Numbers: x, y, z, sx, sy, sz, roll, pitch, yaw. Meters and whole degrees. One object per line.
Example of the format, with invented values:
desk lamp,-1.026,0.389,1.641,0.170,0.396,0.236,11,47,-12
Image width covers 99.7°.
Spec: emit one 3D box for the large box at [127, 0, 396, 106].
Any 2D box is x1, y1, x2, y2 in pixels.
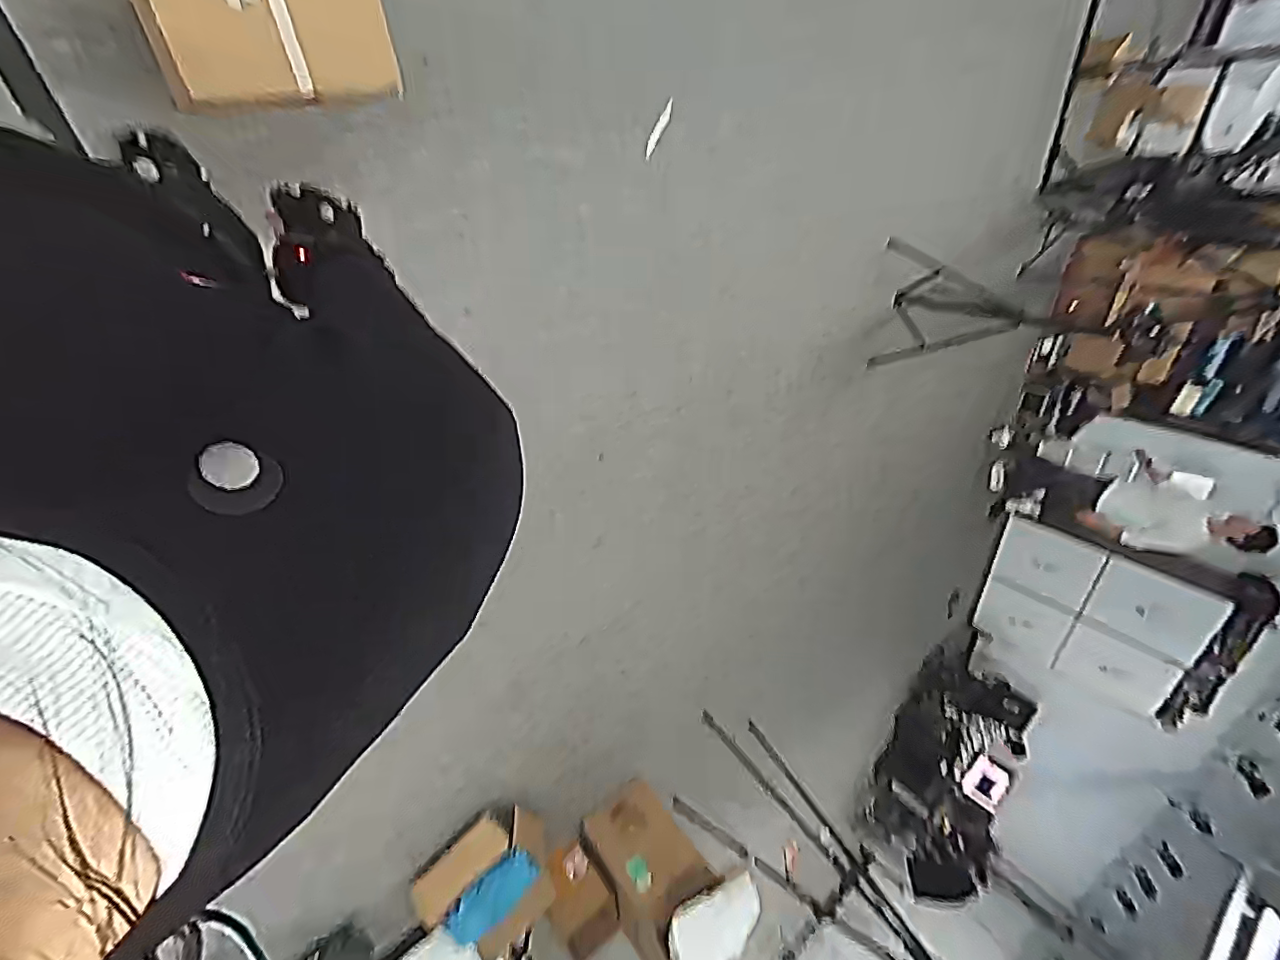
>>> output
large box,-0.649,-0.845,0.844,0.320,0.320,0.408,-27,130,-28
